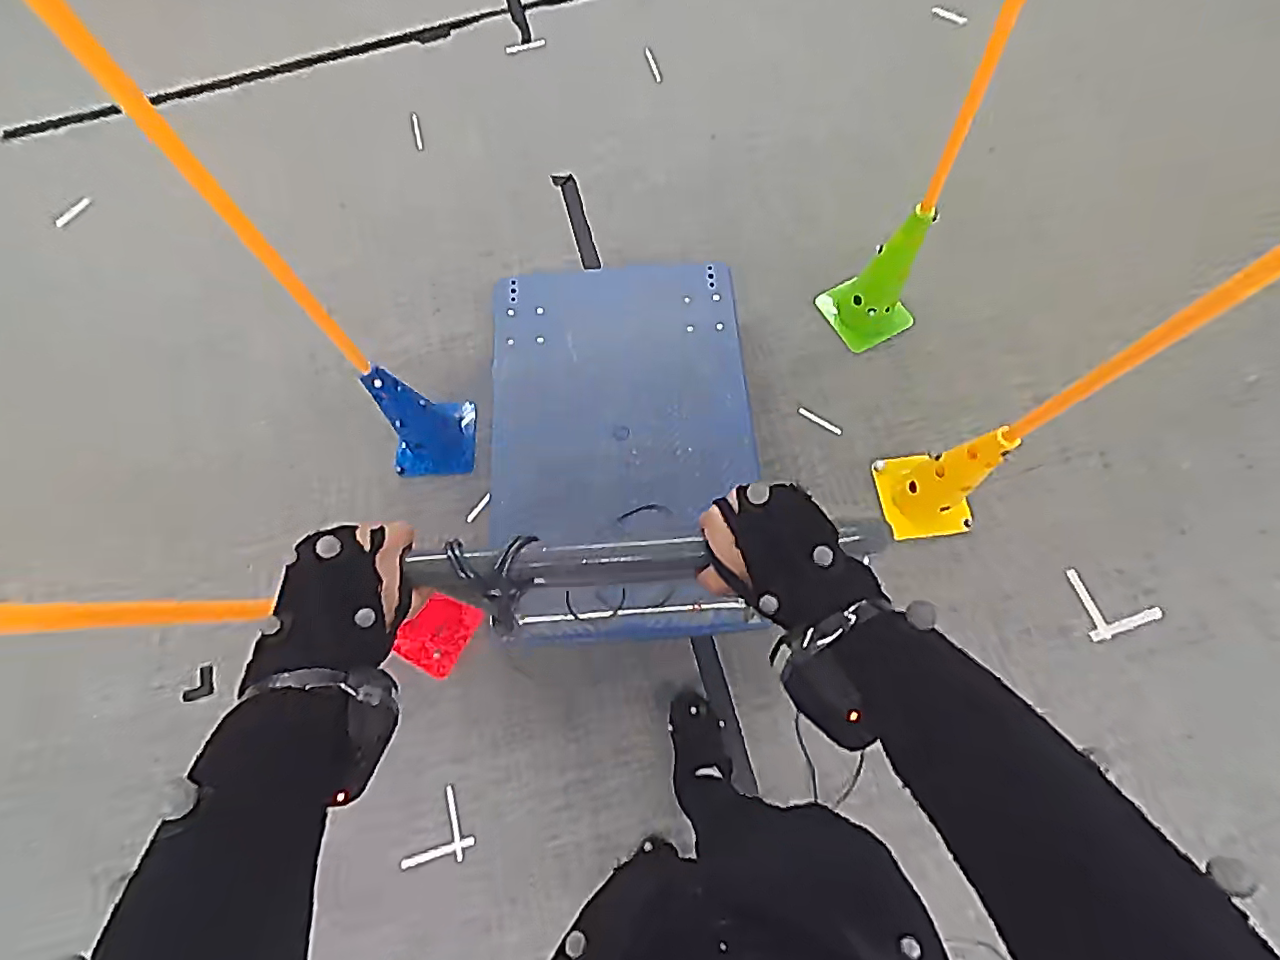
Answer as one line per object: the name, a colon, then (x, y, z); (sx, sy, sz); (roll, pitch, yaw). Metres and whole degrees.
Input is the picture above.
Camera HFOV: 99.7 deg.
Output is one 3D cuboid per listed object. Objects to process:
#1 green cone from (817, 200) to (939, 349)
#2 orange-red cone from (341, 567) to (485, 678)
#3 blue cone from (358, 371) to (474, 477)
green cone: (0.598, -0.514, 1.287); (0.200, 0.368, 0.202); (-29, 74, -7)
orange-red cone: (-0.481, 0.264, 1.070); (0.198, 0.360, 0.199); (28, 73, 10)
blue cone: (-0.524, -0.149, 1.224); (0.193, 0.380, 0.192); (-2, 73, 1)
